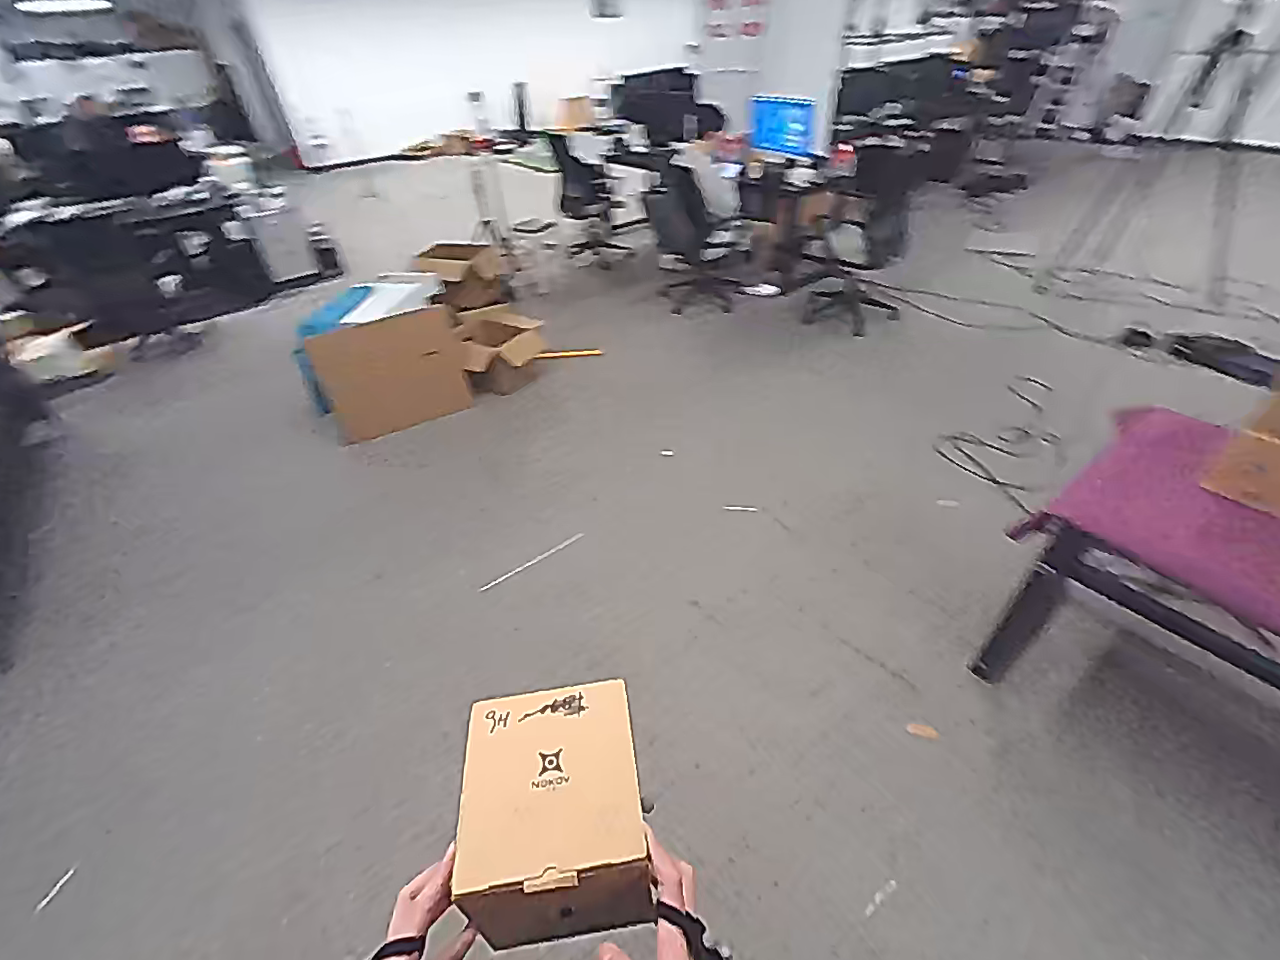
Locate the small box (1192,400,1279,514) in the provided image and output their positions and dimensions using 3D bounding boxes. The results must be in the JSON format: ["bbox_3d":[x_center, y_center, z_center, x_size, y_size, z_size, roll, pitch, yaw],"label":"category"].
[{"bbox_3d":[1.427,-0.052,1.236,0.179,0.176,0.168,-29,45,-27],"label":"small box"}]

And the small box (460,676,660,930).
[{"bbox_3d":[-0.072,0.335,0.561,0.168,0.176,0.179,-6,38,-4],"label":"small box"}]

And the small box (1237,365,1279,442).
[{"bbox_3d":[1.423,-0.176,1.128,0.179,0.176,0.168,-26,44,-23],"label":"small box"}]
